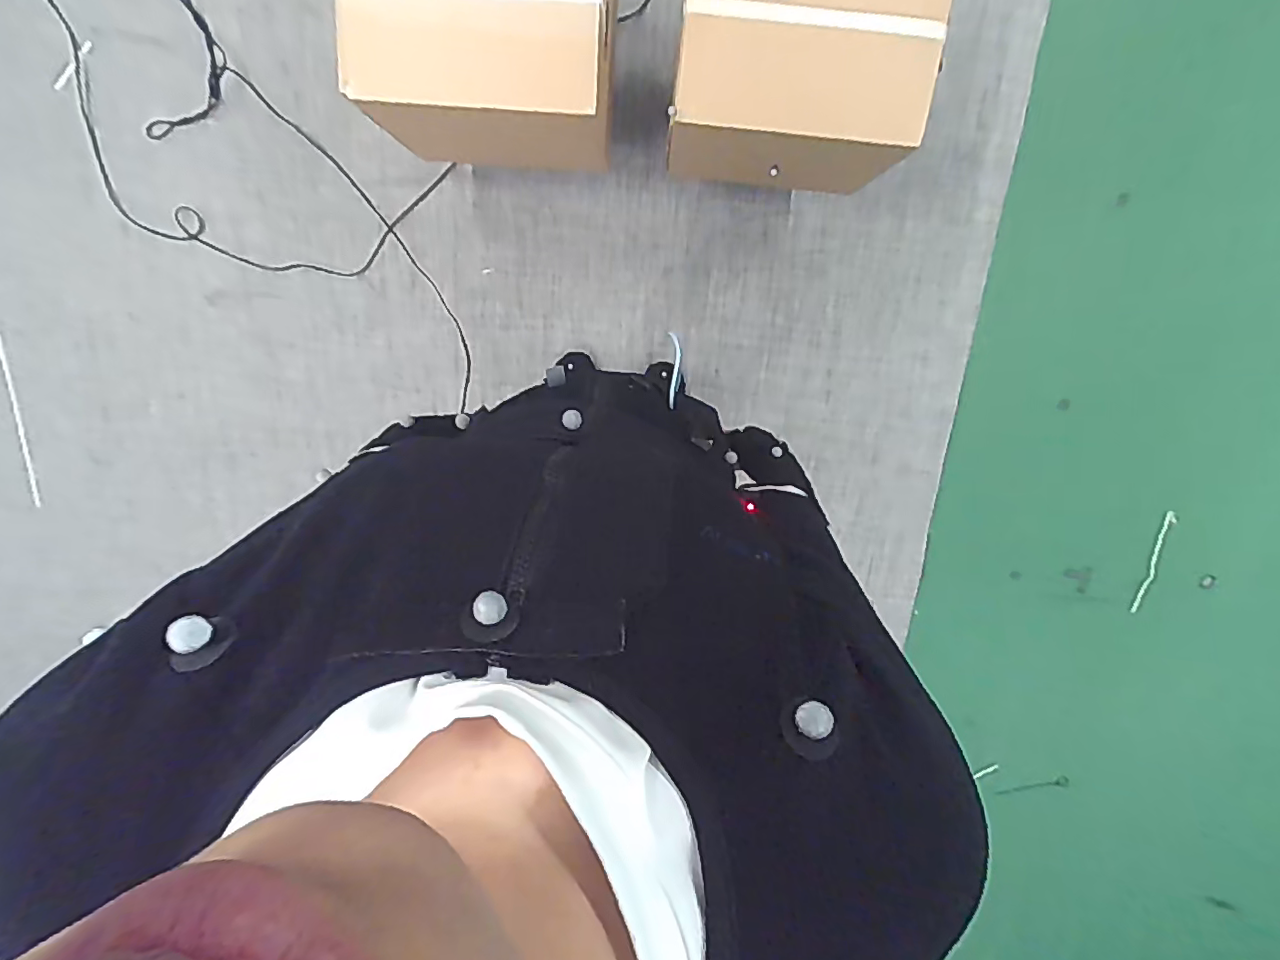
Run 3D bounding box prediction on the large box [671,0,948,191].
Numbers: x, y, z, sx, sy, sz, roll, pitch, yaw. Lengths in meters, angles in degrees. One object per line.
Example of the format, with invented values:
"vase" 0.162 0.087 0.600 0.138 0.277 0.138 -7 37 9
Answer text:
"large box" 0.277 -0.746 0.991 0.408 0.320 0.320 6 105 -1
